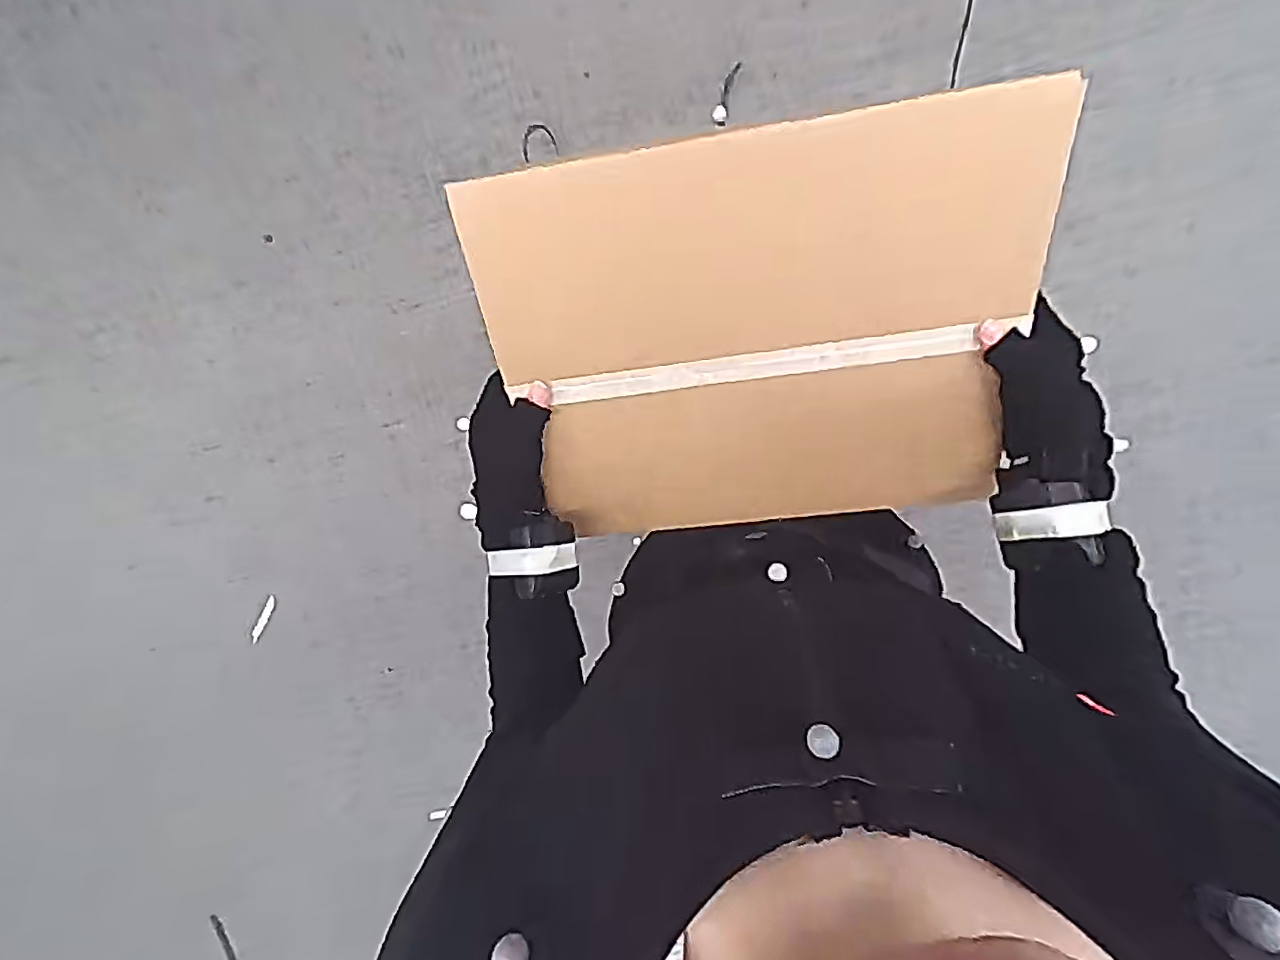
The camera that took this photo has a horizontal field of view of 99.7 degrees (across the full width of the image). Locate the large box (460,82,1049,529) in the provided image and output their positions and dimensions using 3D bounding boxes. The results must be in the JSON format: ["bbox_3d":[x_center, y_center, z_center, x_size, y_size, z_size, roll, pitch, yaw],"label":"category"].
[{"bbox_3d":[0.095,-0.182,0.566,0.408,0.320,0.320,-6,123,7],"label":"large box"}]
